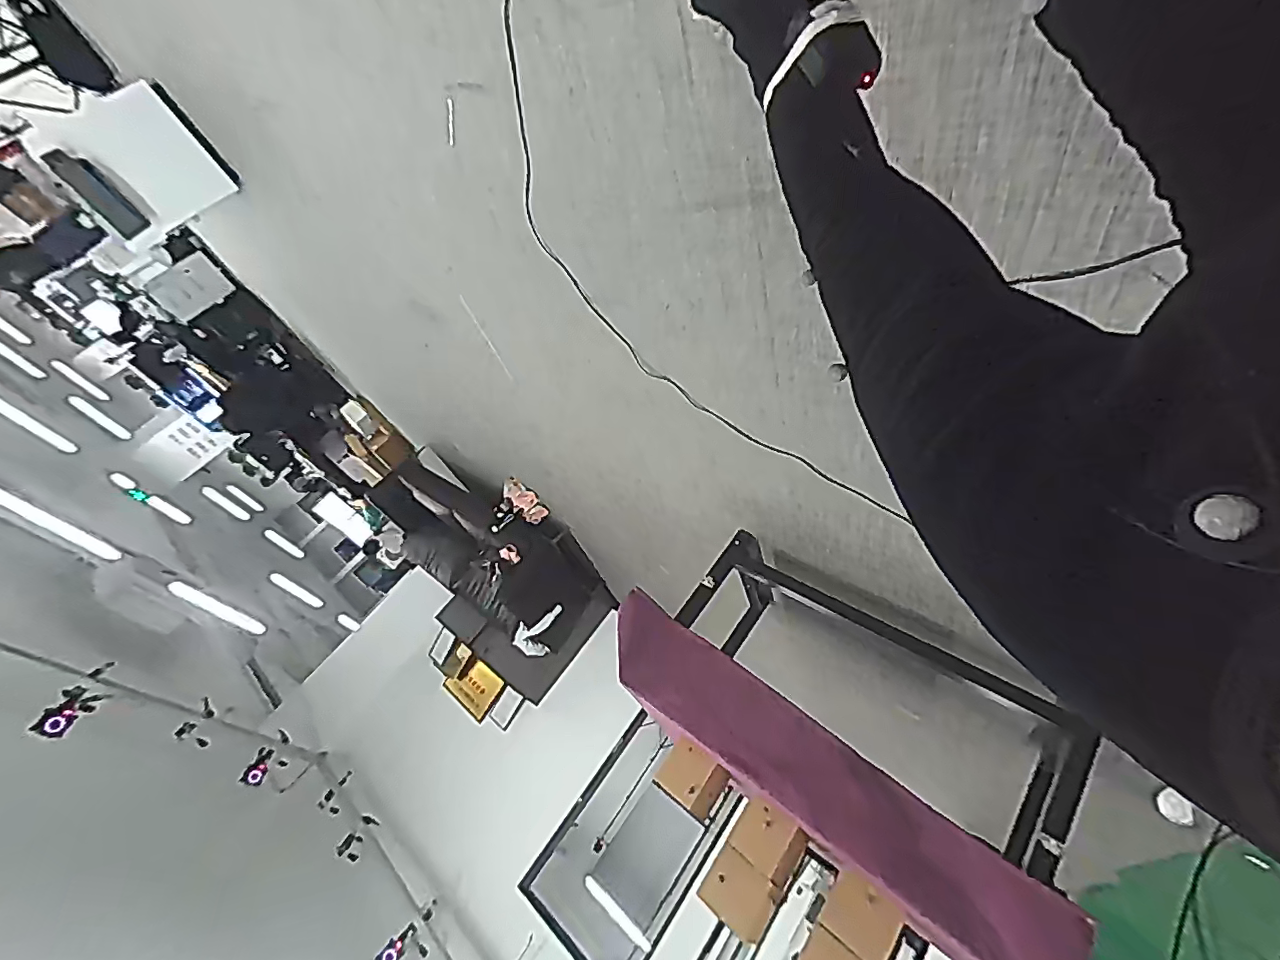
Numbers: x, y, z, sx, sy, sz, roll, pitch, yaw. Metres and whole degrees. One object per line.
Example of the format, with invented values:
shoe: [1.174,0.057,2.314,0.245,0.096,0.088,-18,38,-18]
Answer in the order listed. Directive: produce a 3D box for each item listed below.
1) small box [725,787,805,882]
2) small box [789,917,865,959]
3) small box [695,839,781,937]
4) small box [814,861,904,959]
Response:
small box: [0.399,1.114,1.703,0.168,0.176,0.179,20,150,42]
small box: [0.513,1.325,1.461,0.179,0.176,0.168,23,153,38]
small box: [0.300,1.228,1.641,0.179,0.176,0.168,21,152,41]
small box: [0.614,1.209,1.519,0.179,0.176,0.168,24,154,38]
